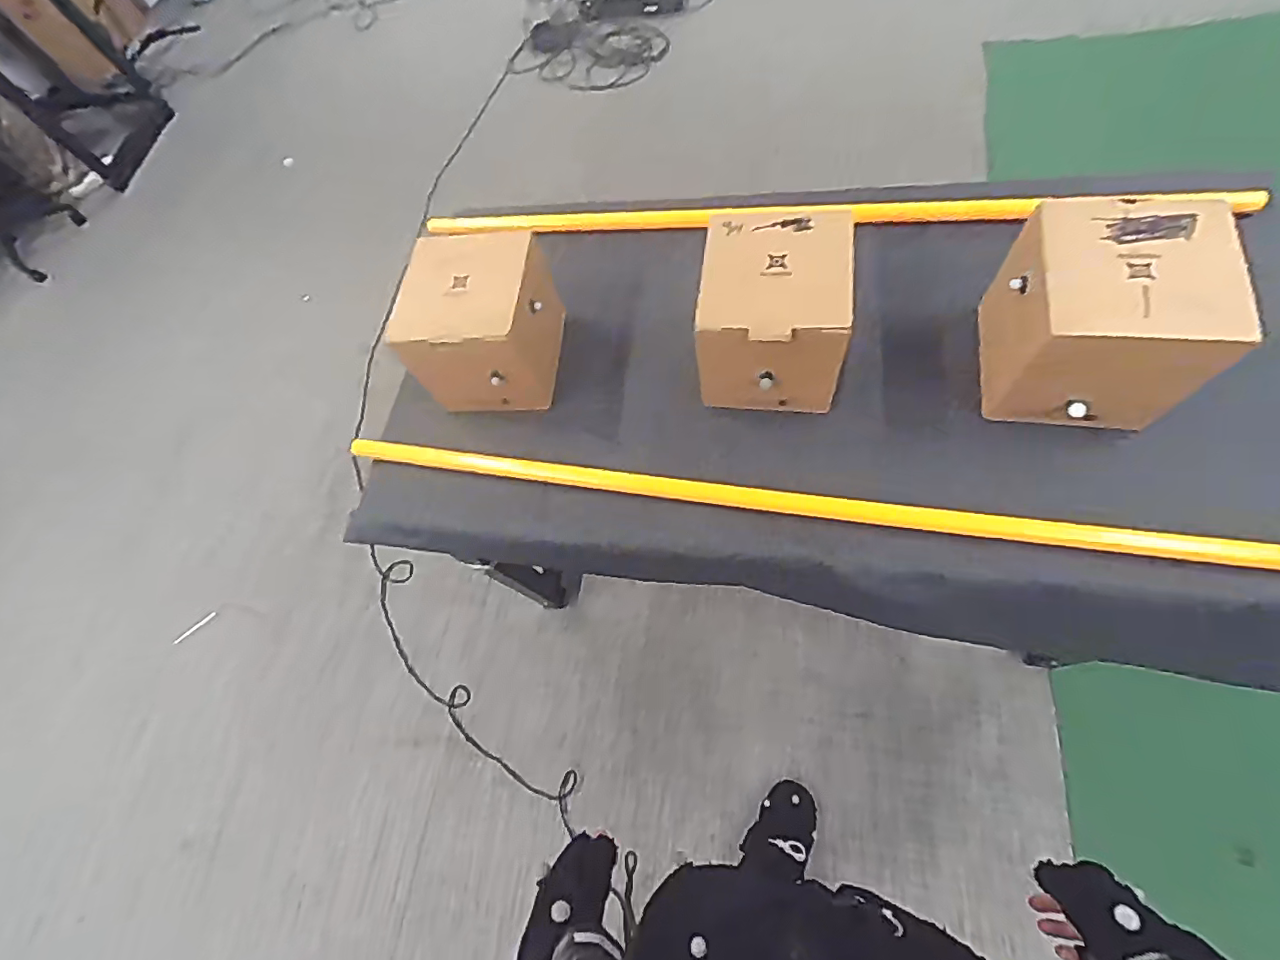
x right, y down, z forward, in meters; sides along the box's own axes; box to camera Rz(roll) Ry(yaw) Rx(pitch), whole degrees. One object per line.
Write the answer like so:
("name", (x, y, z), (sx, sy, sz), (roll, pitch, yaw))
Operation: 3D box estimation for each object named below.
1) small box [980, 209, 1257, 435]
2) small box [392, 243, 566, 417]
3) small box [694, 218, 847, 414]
("small box", (0.501, -0.171, 0.603), (0.168, 0.176, 0.179), (6, 68, 14))
("small box", (-0.212, -0.201, 0.764), (0.168, 0.176, 0.179), (0, 64, 10))
("small box", (0.166, -0.195, 0.687), (0.168, 0.176, 0.179), (1, 65, 13))
